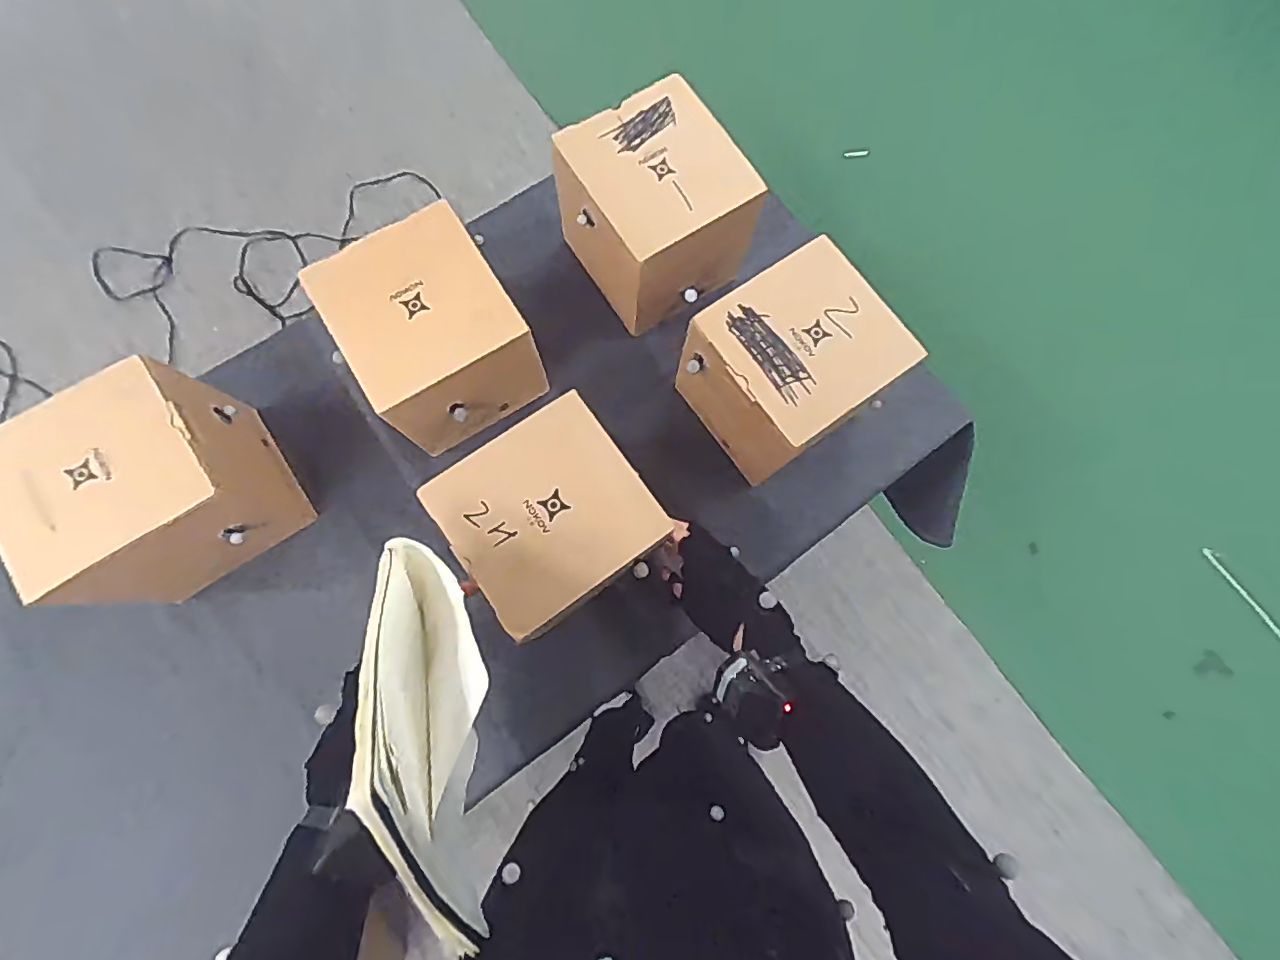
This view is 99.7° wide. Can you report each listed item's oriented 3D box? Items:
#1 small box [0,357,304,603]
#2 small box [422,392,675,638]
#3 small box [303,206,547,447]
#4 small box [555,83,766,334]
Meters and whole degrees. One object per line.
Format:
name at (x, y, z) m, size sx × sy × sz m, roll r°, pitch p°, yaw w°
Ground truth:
small box at (-0.489, 0.010, 0.559) m, size 0.179 × 0.176 × 0.168 m, roll -33°, pitch 81°, yaw -10°
small box at (-0.089, 0.044, 0.562) m, size 0.179 × 0.176 × 0.168 m, roll -32°, pitch 80°, yaw -12°
small box at (-0.222, -0.154, 0.609) m, size 0.168 × 0.176 × 0.179 m, roll -32°, pitch 80°, yaw -8°
small box at (0.017, -0.312, 0.651) m, size 0.168 × 0.176 × 0.179 m, roll -32°, pitch 81°, yaw -8°
